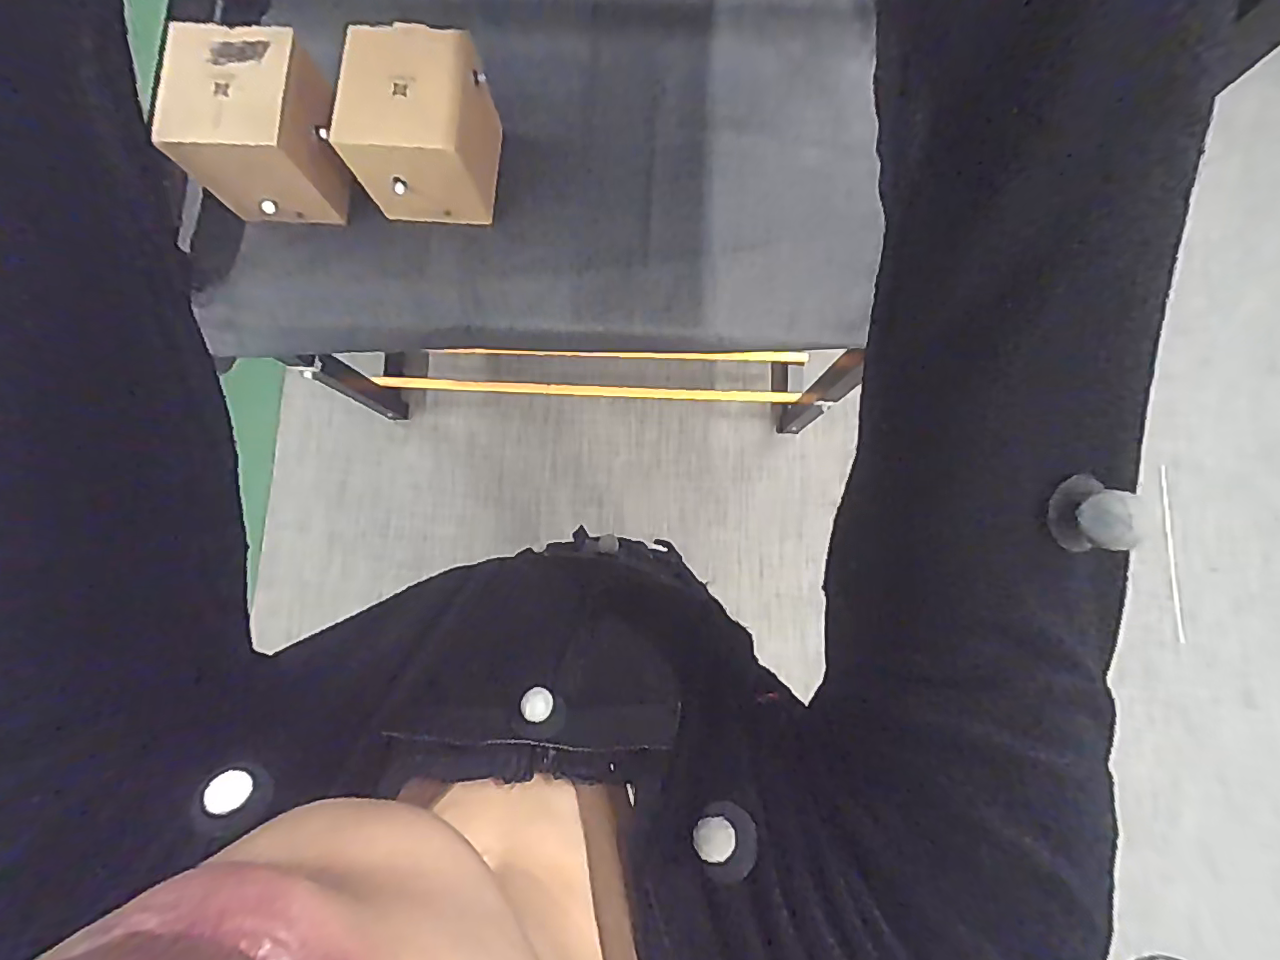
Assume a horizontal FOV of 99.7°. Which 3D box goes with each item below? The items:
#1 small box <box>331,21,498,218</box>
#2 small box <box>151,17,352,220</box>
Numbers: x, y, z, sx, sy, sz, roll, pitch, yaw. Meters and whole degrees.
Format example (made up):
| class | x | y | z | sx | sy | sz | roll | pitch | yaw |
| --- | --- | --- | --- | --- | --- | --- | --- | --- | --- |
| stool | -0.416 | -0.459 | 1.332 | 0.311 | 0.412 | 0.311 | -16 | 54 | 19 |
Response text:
| class | x | y | z | sx | sy | sz | roll | pitch | yaw |
| --- | --- | --- | --- | --- | --- | --- | --- | --- | --- |
| small box | -0.311 | -0.507 | 0.783 | 0.168 | 0.176 | 0.179 | 3 | 82 | 0 |
| small box | -0.539 | -0.509 | 0.780 | 0.168 | 0.176 | 0.179 | 2 | 82 | 0 |
